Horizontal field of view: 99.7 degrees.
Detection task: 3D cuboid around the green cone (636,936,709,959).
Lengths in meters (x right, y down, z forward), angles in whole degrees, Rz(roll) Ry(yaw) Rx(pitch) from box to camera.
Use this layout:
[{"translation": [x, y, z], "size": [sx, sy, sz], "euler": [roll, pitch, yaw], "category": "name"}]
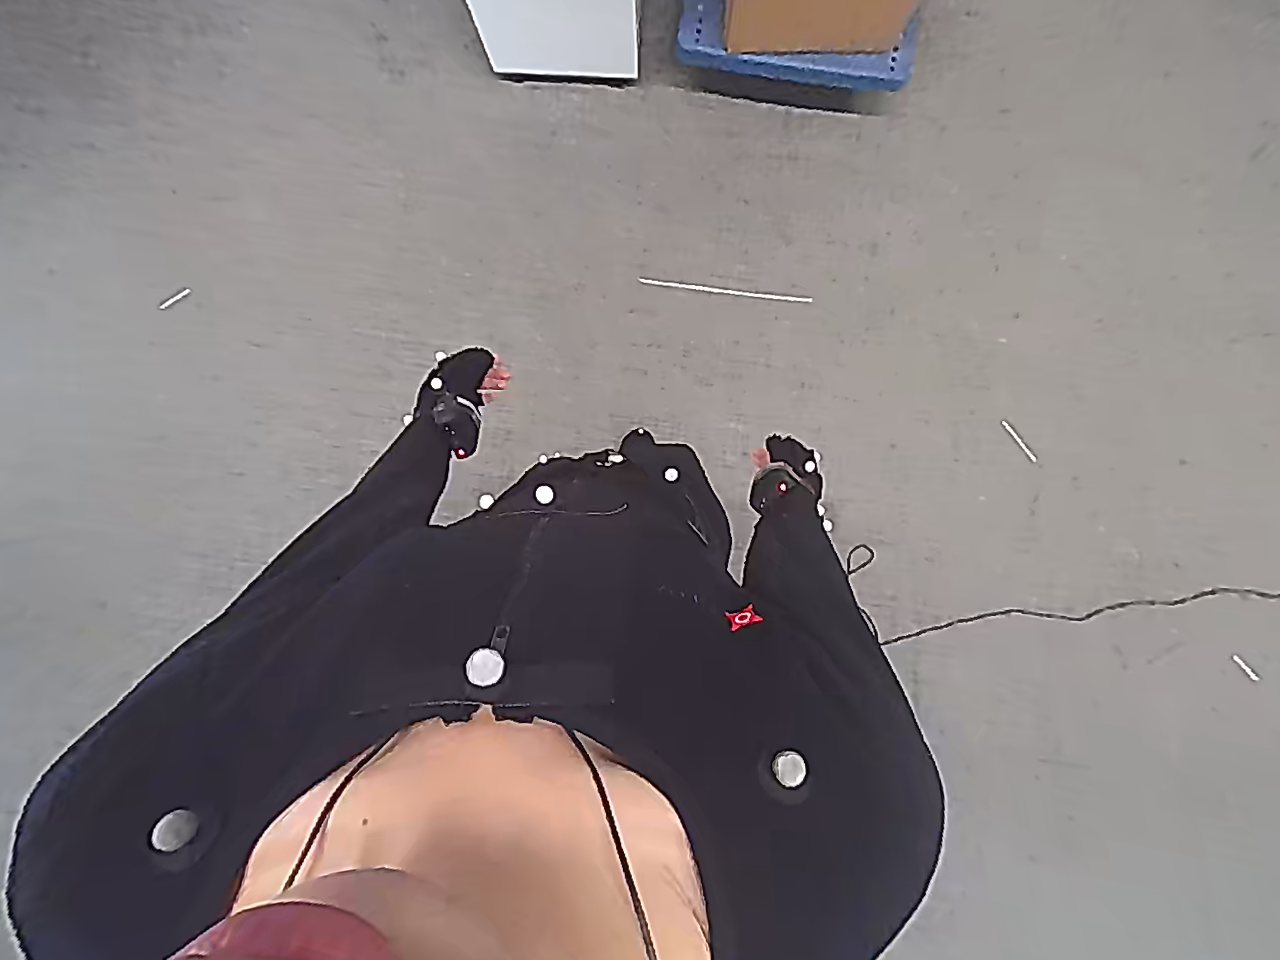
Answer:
[{"translation": [0.080, 1.383, 1.334], "size": [0.200, 0.368, 0.202], "euler": [10, 90, 1], "category": "green cone"}]
